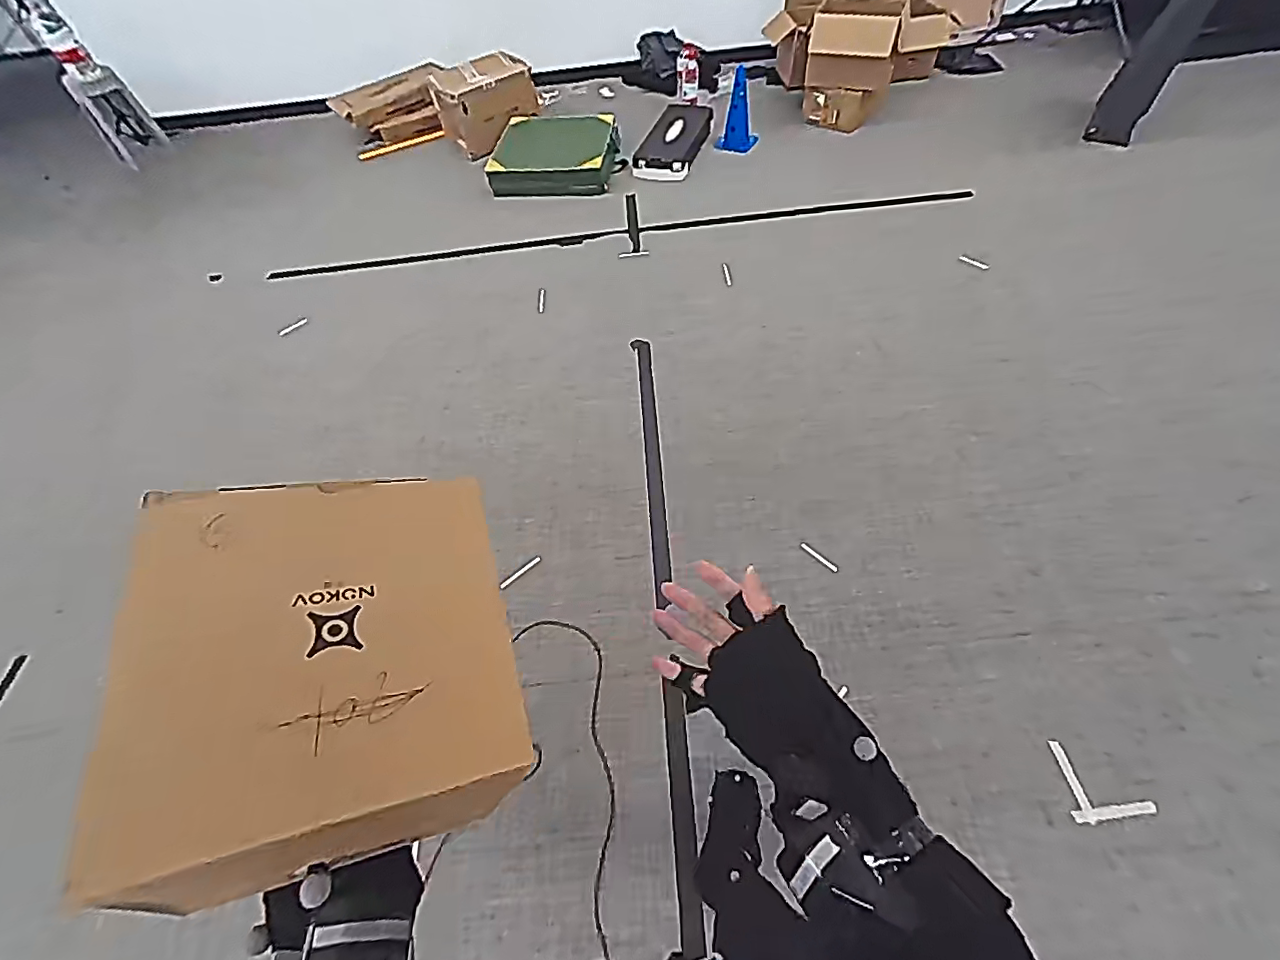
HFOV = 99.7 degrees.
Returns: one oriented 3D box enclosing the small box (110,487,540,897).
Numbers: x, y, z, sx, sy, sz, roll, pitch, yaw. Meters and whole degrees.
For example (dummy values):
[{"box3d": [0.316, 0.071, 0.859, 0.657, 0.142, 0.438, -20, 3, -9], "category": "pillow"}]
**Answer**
[{"box3d": [-0.174, 0.124, 0.335, 0.168, 0.176, 0.179, -3, 54, -26], "category": "small box"}]
